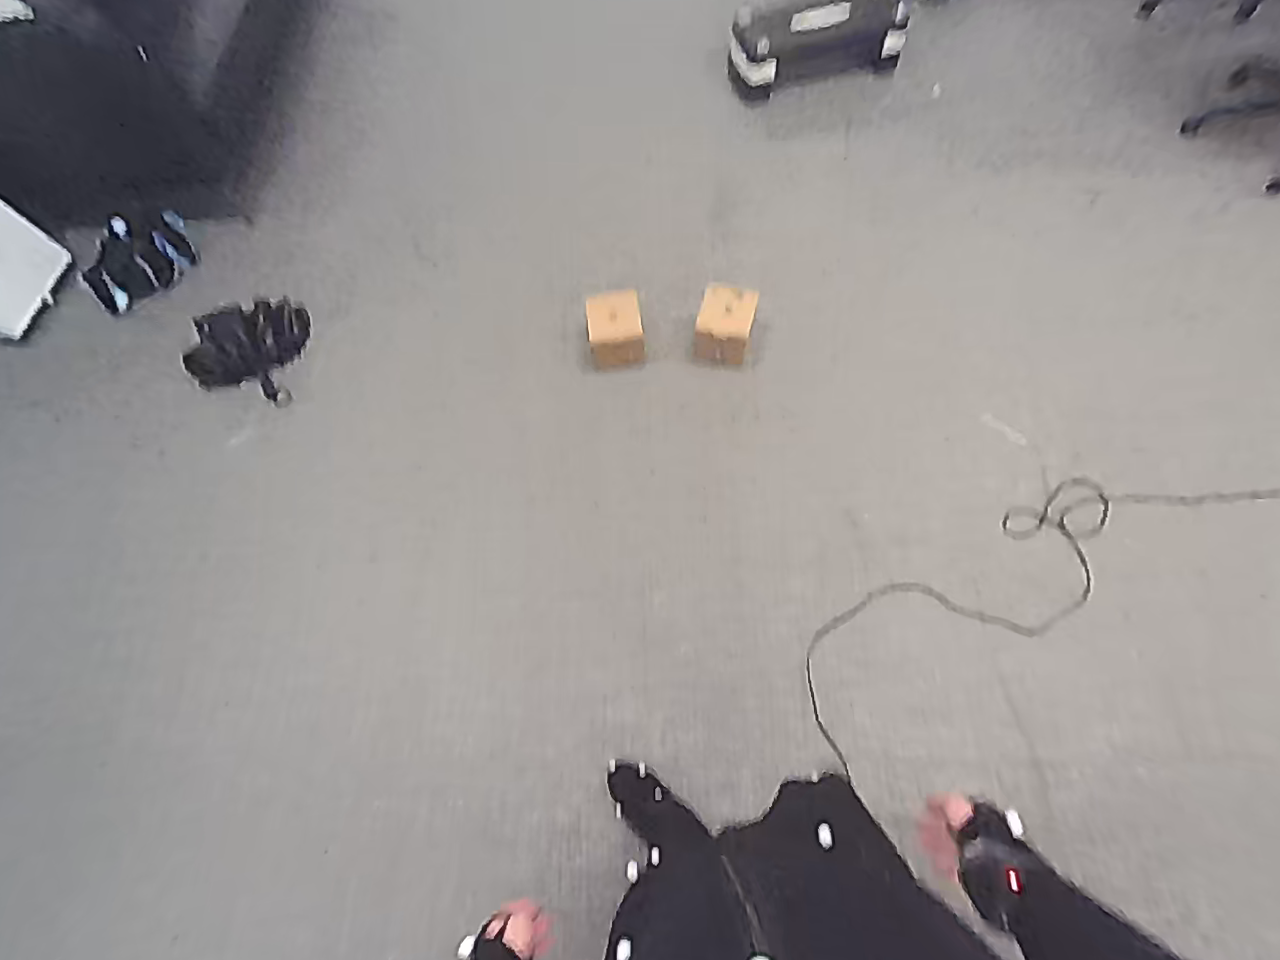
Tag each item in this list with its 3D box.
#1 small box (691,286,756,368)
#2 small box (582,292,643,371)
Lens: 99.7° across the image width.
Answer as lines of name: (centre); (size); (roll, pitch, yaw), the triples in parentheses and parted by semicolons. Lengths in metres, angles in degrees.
small box: (0.263, -0.480, 1.713); (0.168, 0.176, 0.179); (14, 69, 11)
small box: (-0.086, -0.468, 1.738); (0.168, 0.176, 0.179); (-9, 65, -1)
